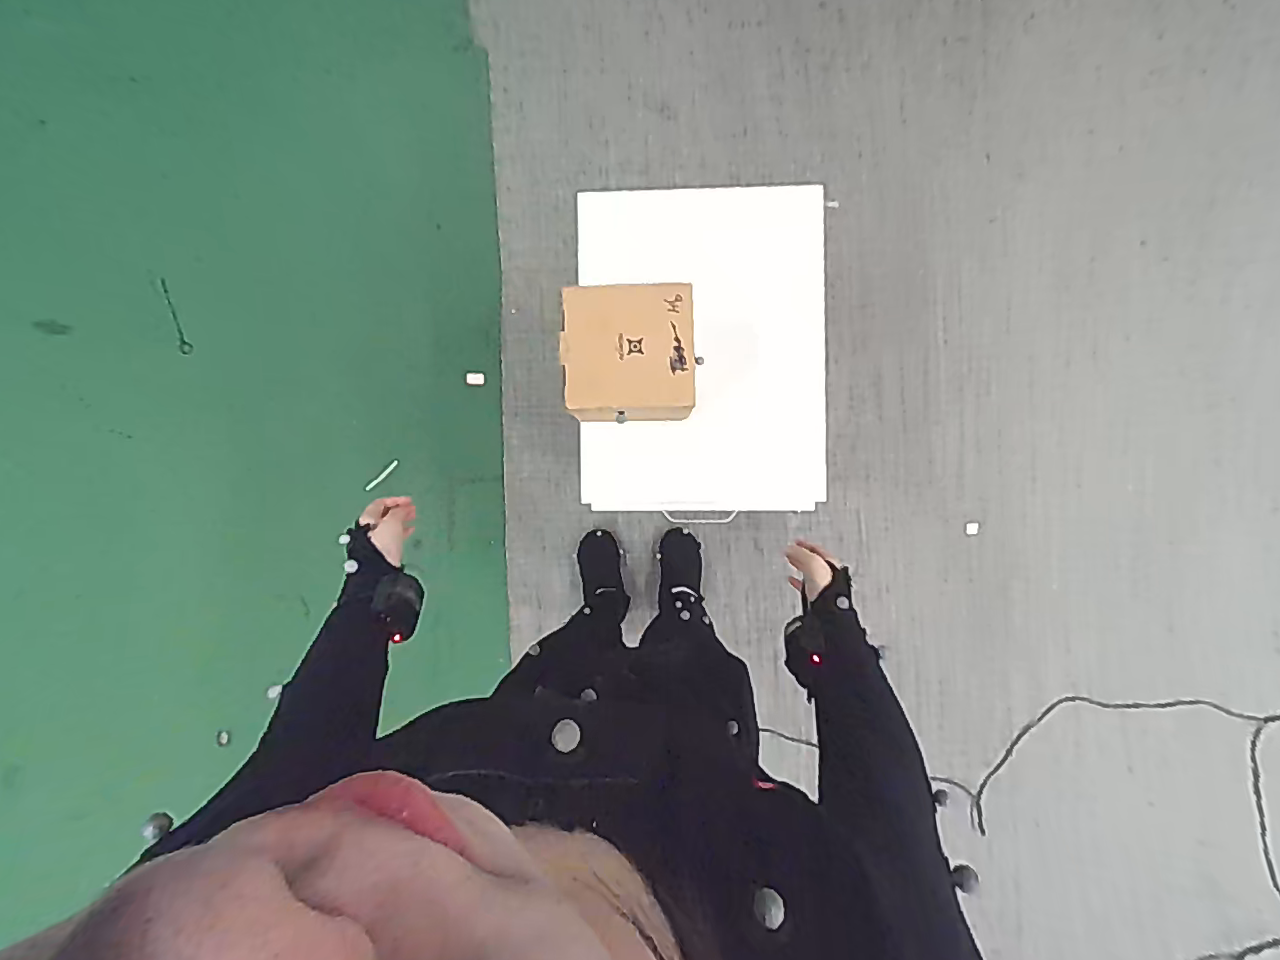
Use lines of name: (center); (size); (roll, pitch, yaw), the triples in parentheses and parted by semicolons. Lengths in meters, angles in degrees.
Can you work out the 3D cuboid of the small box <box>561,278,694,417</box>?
small box: (-0.013, -0.183, 0.791); (0.179, 0.176, 0.168); (-1, 91, 2)
